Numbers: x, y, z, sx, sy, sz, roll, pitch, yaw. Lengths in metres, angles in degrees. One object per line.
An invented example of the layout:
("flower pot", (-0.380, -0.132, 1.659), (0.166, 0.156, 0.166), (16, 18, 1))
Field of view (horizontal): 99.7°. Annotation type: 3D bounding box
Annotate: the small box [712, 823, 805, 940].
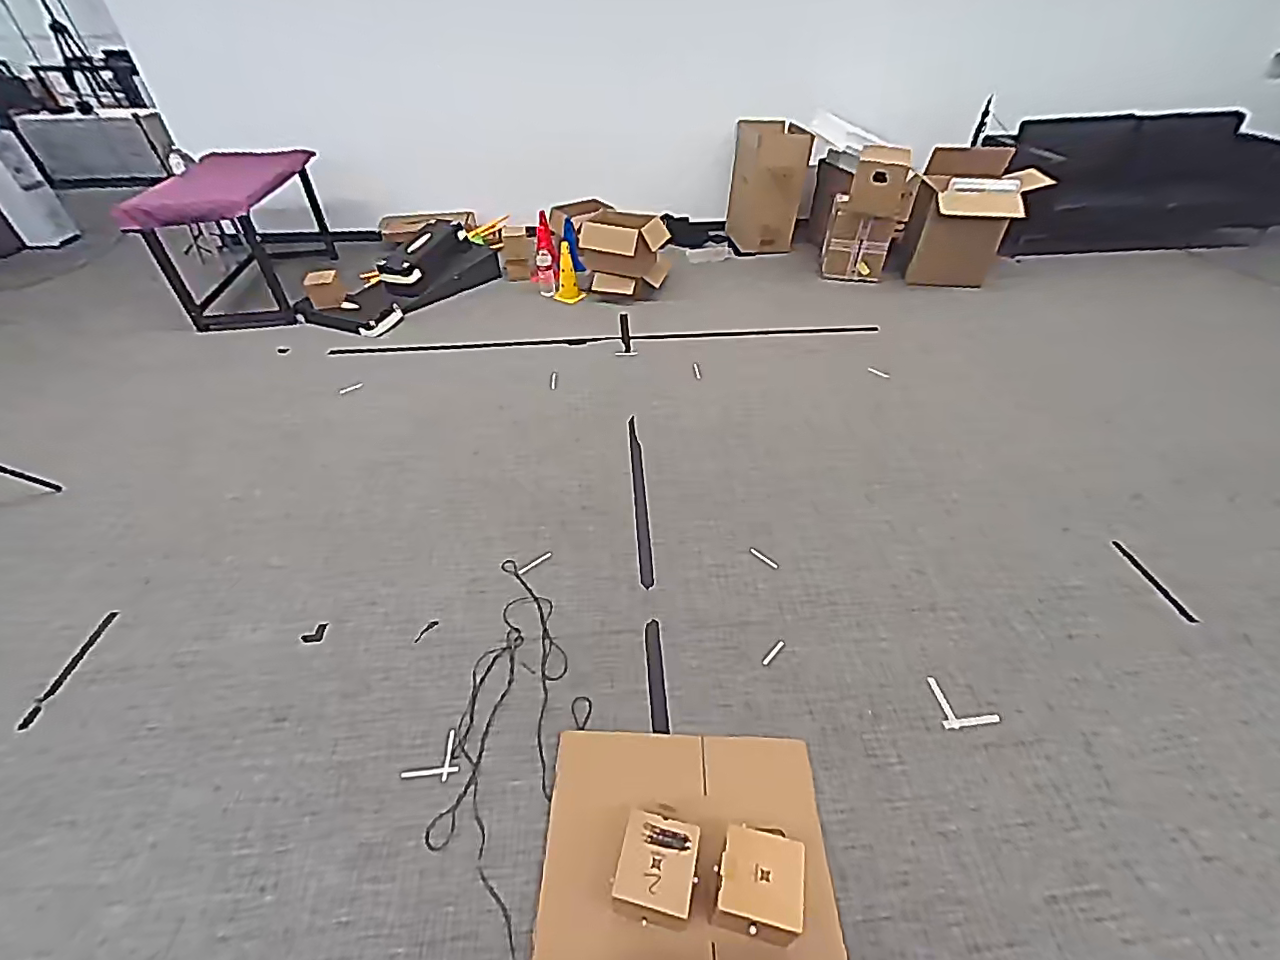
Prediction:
("small box", (0.269, 0.921, 1.237), (0.179, 0.176, 0.168), (9, 43, 11))
